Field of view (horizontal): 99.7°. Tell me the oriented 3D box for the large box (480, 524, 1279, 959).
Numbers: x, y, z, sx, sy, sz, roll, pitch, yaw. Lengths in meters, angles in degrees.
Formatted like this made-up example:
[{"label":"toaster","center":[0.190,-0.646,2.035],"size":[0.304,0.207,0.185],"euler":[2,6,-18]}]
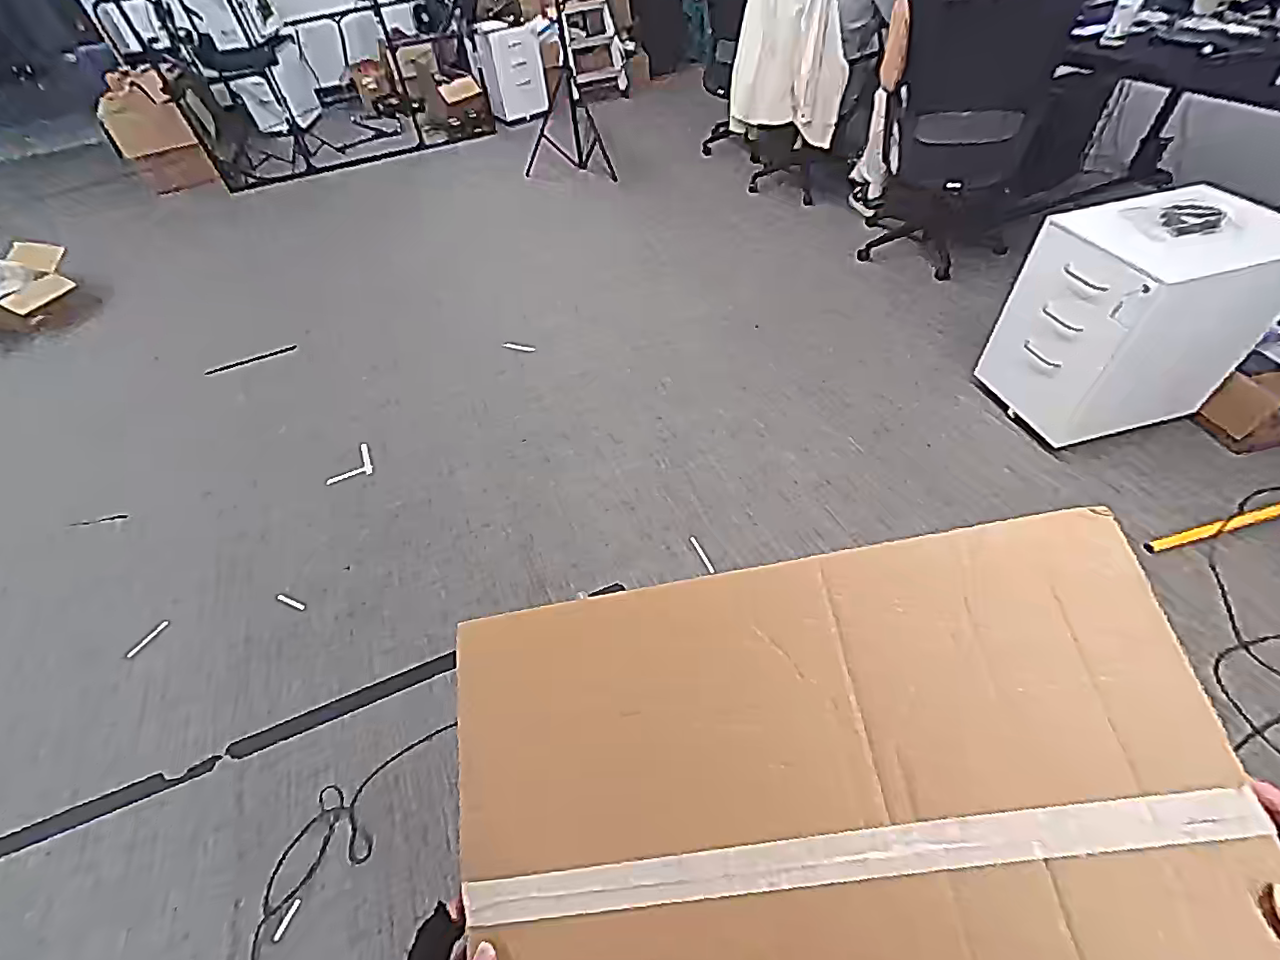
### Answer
[{"label":"large box","center":[0.131,0.260,0.430],"size":[0.408,0.320,0.320],"euler":[-12,69,7]}]
